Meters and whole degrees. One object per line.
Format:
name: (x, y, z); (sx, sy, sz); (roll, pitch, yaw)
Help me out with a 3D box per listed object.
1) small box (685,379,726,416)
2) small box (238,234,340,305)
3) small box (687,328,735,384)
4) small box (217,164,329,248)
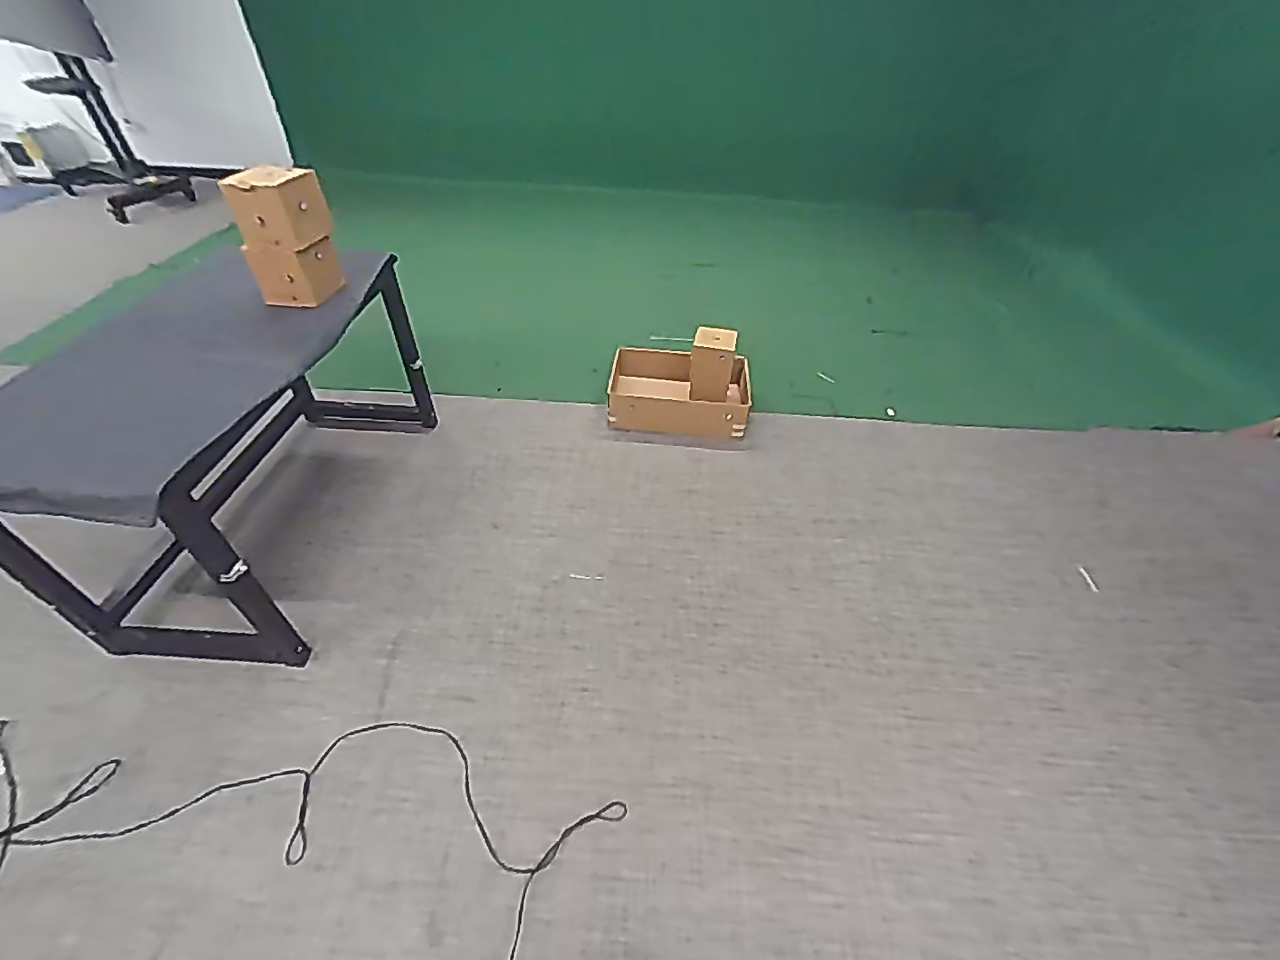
small box: (0.300, -0.418, 2.456); (0.168, 0.176, 0.179); (9, 46, 7)
small box: (-1.035, -0.639, 1.617); (0.168, 0.176, 0.179); (6, 43, 3)
small box: (0.306, -0.533, 2.338); (0.179, 0.176, 0.168); (10, 44, 8)
small box: (-1.011, -0.765, 1.512); (0.168, 0.176, 0.179); (8, 44, 6)
